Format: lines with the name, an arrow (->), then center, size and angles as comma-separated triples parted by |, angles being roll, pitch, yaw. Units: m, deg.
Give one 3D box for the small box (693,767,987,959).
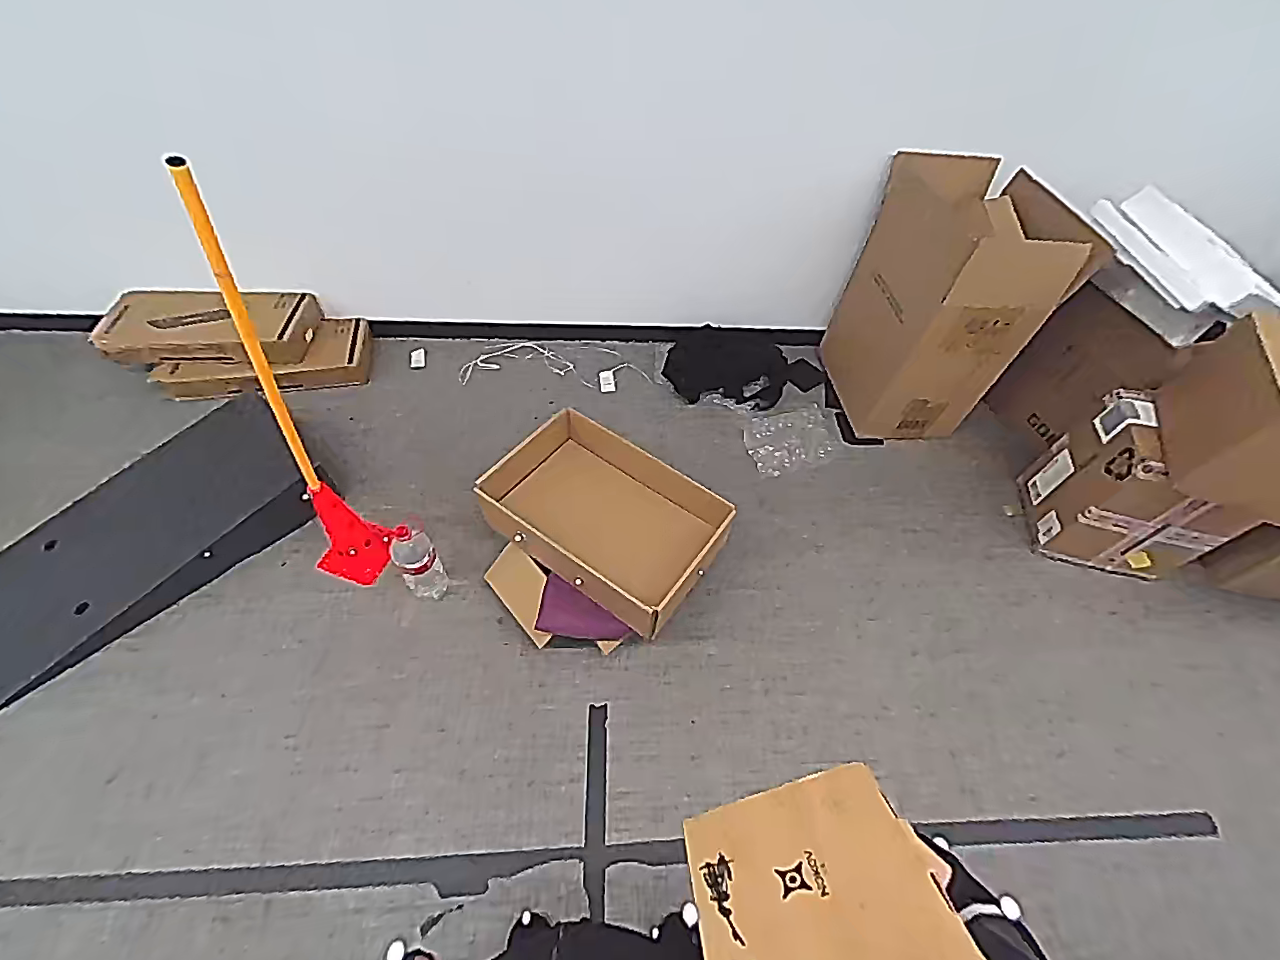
small box -> 0.159, 0.384, 0.440 | 0.179, 0.176, 0.168 | -19, 14, 2
